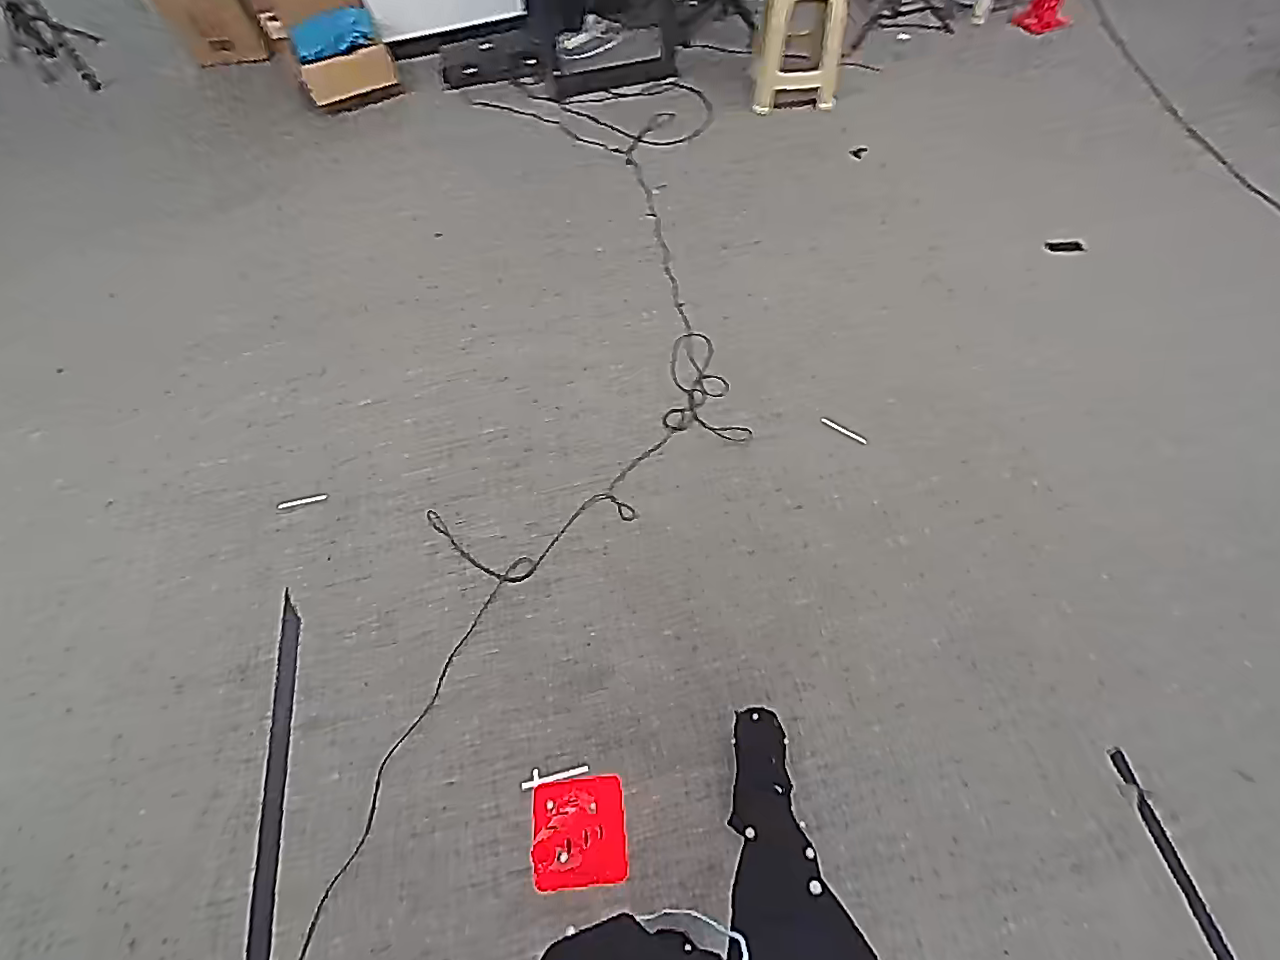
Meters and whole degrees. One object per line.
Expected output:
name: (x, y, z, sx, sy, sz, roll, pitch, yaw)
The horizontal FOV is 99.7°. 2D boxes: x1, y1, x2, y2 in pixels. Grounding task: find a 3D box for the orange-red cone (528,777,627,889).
orange-red cone: (-0.143, 0.672, 1.004, 0.198, 0.360, 0.199, -6, 63, 2)
